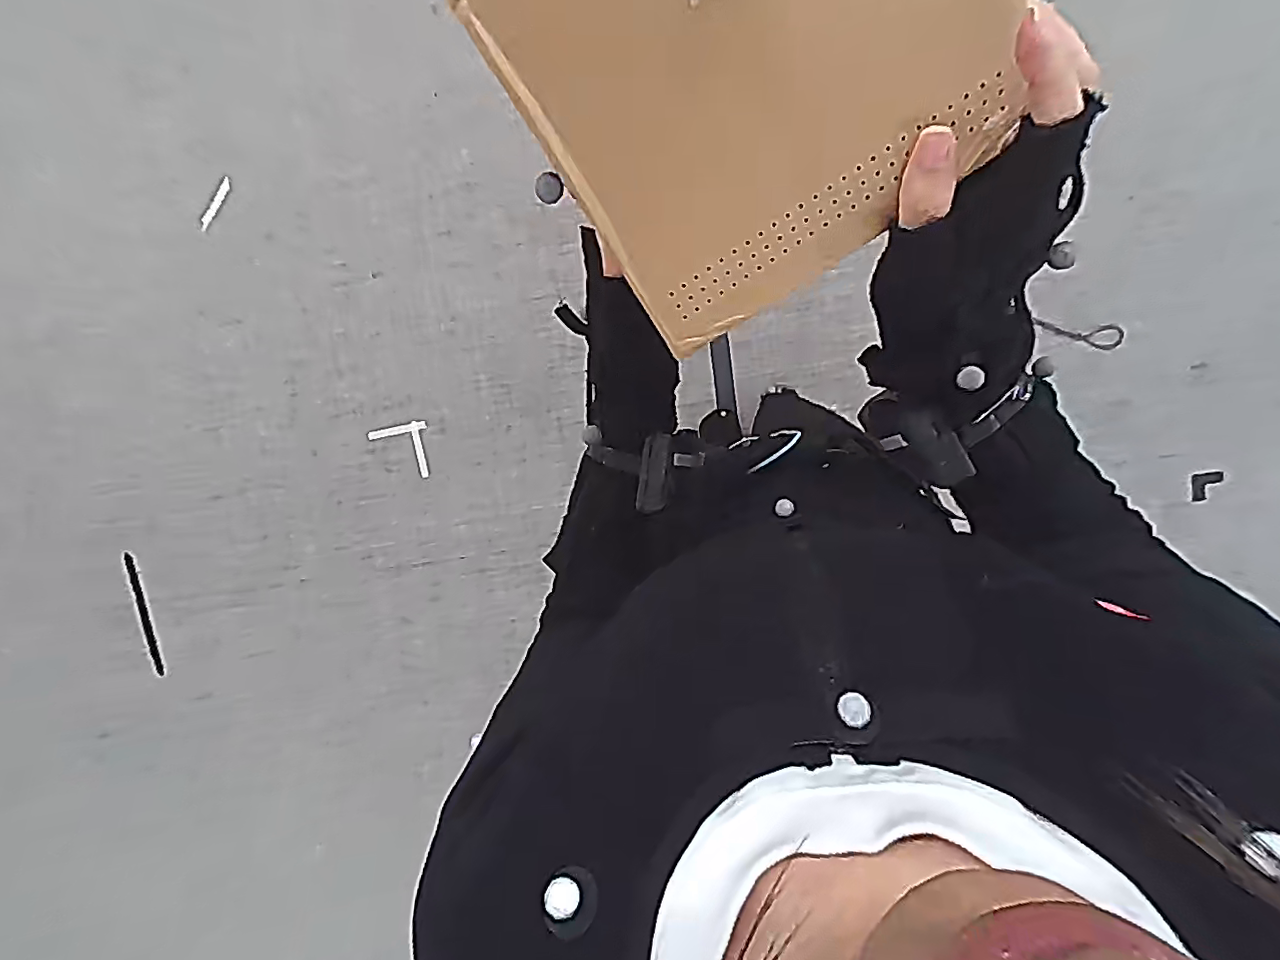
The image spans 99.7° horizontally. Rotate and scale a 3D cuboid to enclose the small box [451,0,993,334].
[{"bbox_3d":[0.039,-0.206,0.276,0.179,0.168,0.176,-30,127,14],"label":"small box"}]
